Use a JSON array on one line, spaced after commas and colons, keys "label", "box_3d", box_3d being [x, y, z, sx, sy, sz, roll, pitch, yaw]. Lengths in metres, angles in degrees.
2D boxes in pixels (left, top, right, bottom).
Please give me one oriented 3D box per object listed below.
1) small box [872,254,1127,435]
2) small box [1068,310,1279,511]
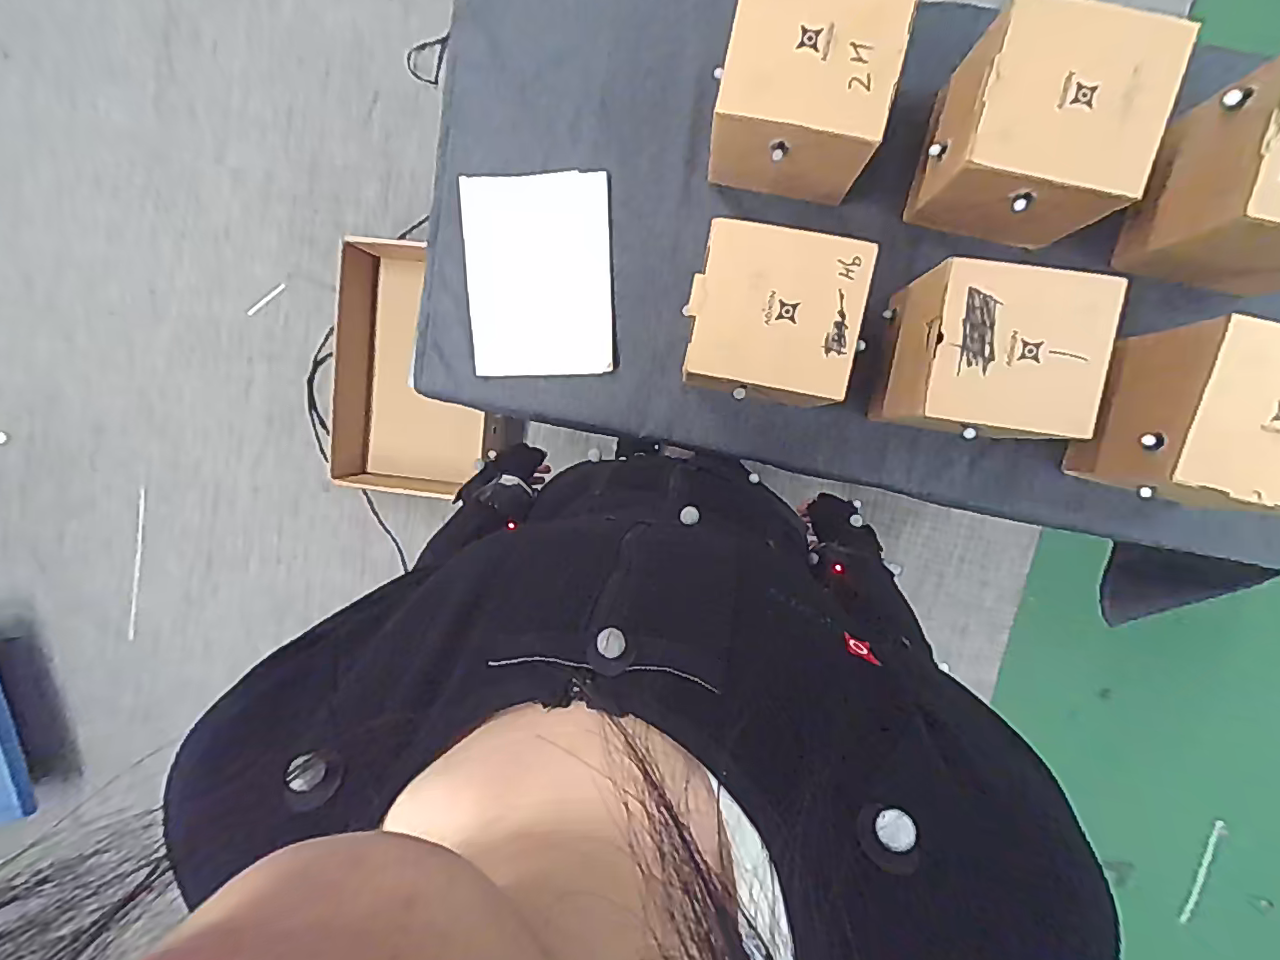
[{"label": "small box", "box_3d": [0.393, -0.144, 0.628, 0.179, 0.176, 0.168, 8, 96, 3]}, {"label": "small box", "box_3d": [0.645, -0.073, 0.619, 0.168, 0.176, 0.179, 14, 96, 3]}]
